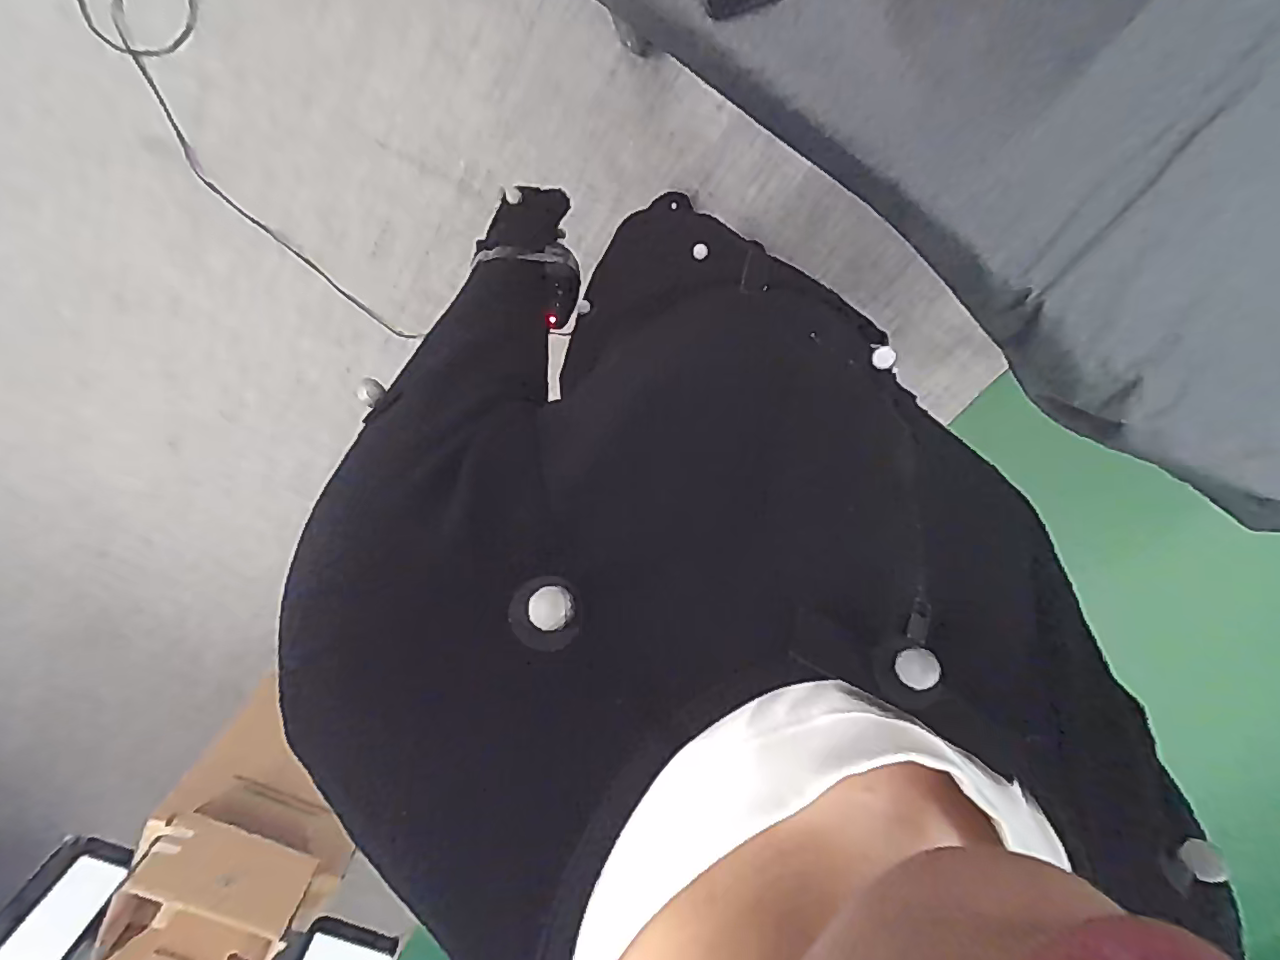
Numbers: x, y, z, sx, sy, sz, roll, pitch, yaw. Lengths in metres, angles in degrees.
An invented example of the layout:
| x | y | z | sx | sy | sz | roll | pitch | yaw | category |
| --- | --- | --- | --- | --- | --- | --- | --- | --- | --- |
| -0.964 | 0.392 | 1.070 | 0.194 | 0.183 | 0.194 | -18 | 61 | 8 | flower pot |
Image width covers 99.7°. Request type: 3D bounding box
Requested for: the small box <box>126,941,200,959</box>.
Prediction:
| x | y | z | sx | sy | sz | roll | pitch | yaw | category |
| --- | --- | --- | --- | --- | --- | --- | --- | --- | --- |
| -1.209 | 1.267 | 1.315 | 0.179 | 0.176 | 0.168 | 35 | 117 | -13 | small box |

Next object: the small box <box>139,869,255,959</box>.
| x | y | z | sx | sy | sz | roll | pitch | yaw | category |
| --- | --- | --- | --- | --- | --- | --- | --- | --- | --- |
| -1.197 | 1.189 | 1.459 | 0.179 | 0.176 | 0.168 | 32 | 118 | -12 | small box |
